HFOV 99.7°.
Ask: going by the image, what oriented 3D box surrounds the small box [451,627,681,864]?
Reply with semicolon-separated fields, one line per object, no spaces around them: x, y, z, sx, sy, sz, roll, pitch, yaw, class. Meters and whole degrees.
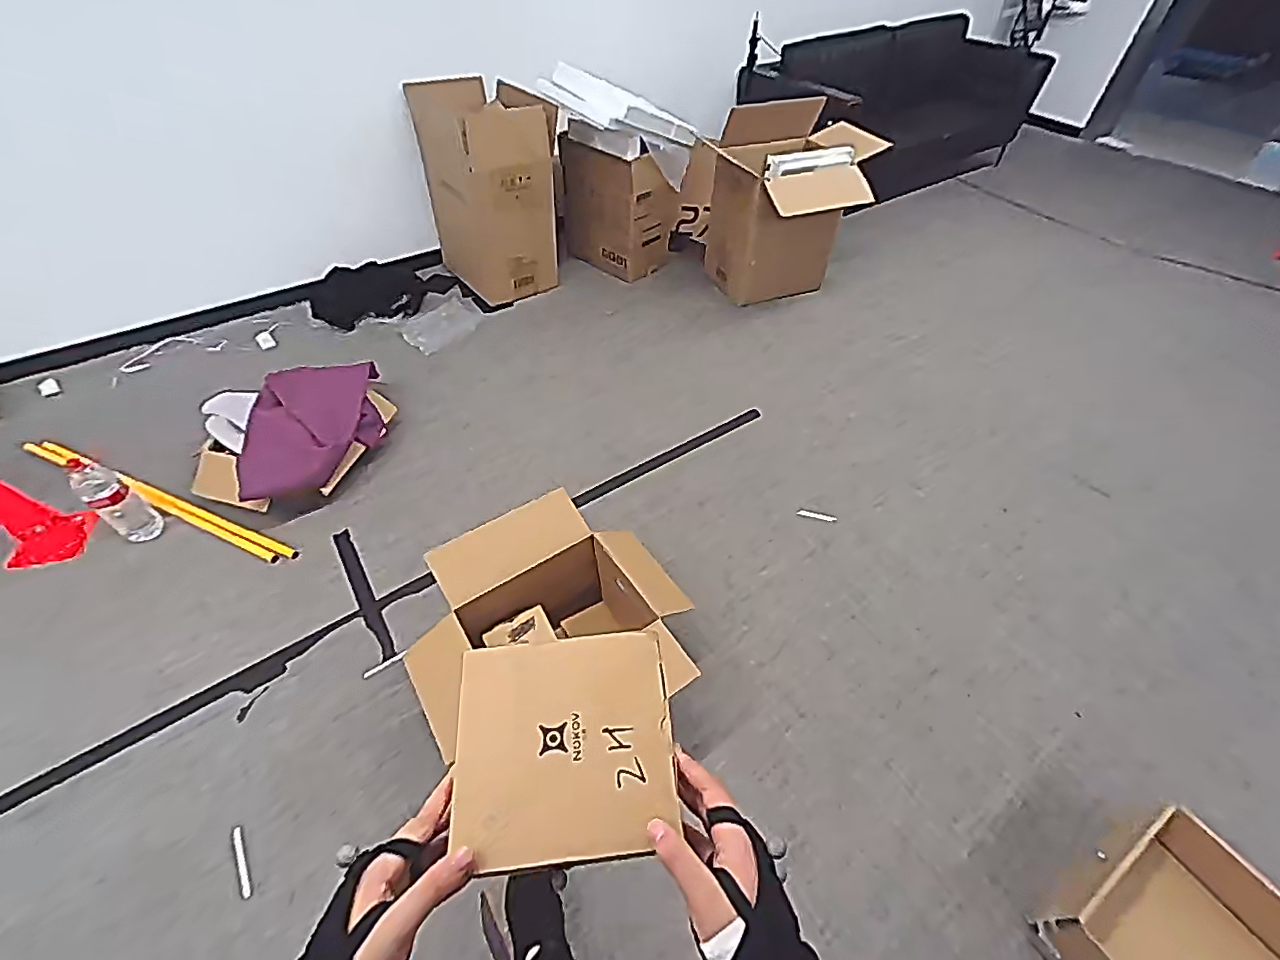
-0.061;0.255;0.513;0.179;0.176;0.168;-5;55;-4;small box
